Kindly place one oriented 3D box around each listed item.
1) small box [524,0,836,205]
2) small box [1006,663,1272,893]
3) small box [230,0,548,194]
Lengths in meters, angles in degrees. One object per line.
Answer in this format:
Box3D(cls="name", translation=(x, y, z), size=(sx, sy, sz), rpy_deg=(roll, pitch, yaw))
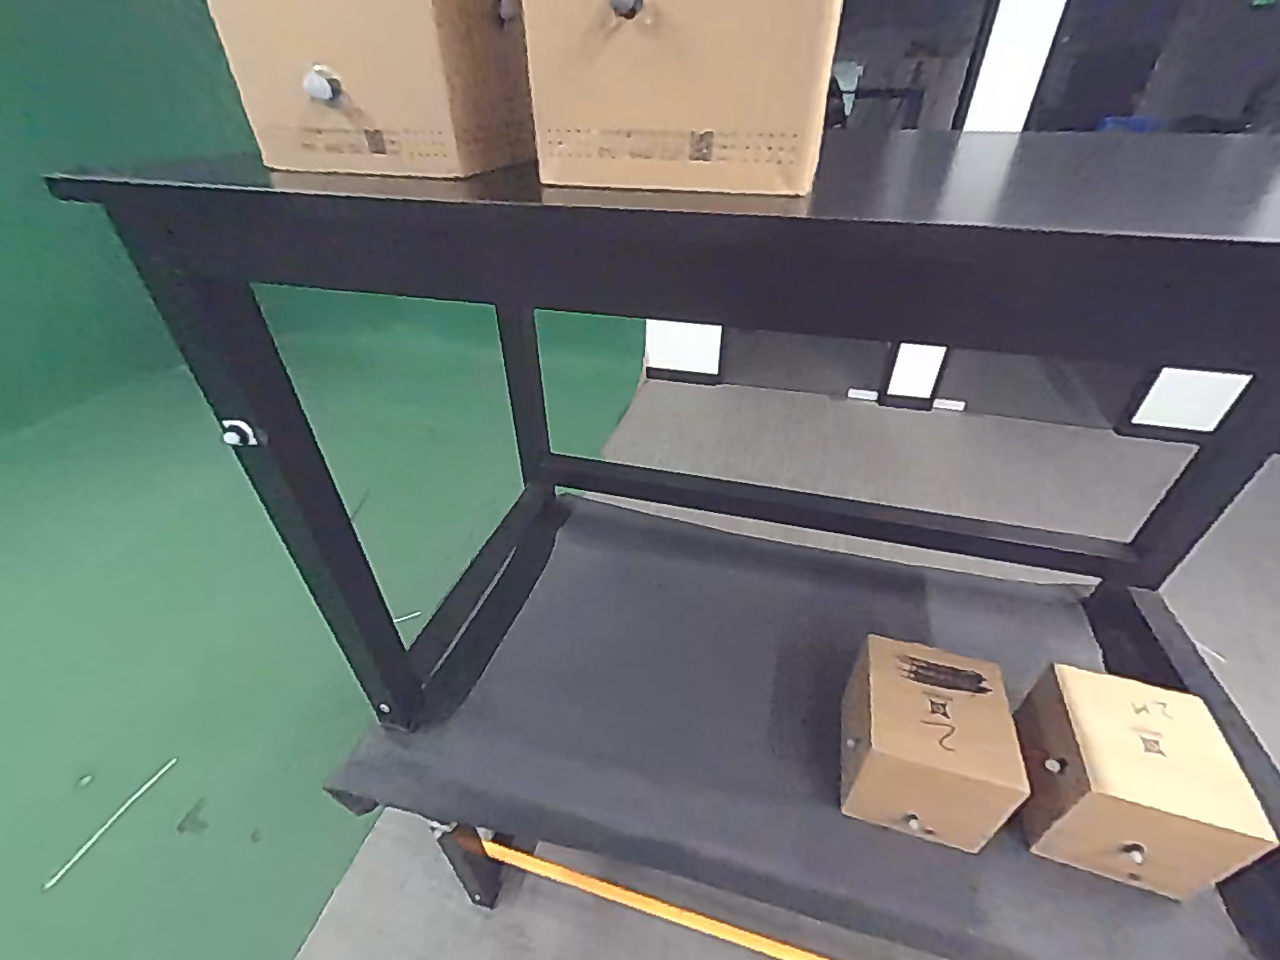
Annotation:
Box3D(cls="small box", translation=(0.036, -0.284, 0.350), size=(0.168, 0.176, 0.179), rpy_deg=(10, 37, 14))
Box3D(cls="small box", translation=(0.593, 0.370, 0.677), size=(0.168, 0.176, 0.179), rpy_deg=(11, 37, 16))
Box3D(cls="small box", translation=(-0.176, -0.329, 0.410), size=(0.168, 0.176, 0.179), rpy_deg=(10, 38, 13))
